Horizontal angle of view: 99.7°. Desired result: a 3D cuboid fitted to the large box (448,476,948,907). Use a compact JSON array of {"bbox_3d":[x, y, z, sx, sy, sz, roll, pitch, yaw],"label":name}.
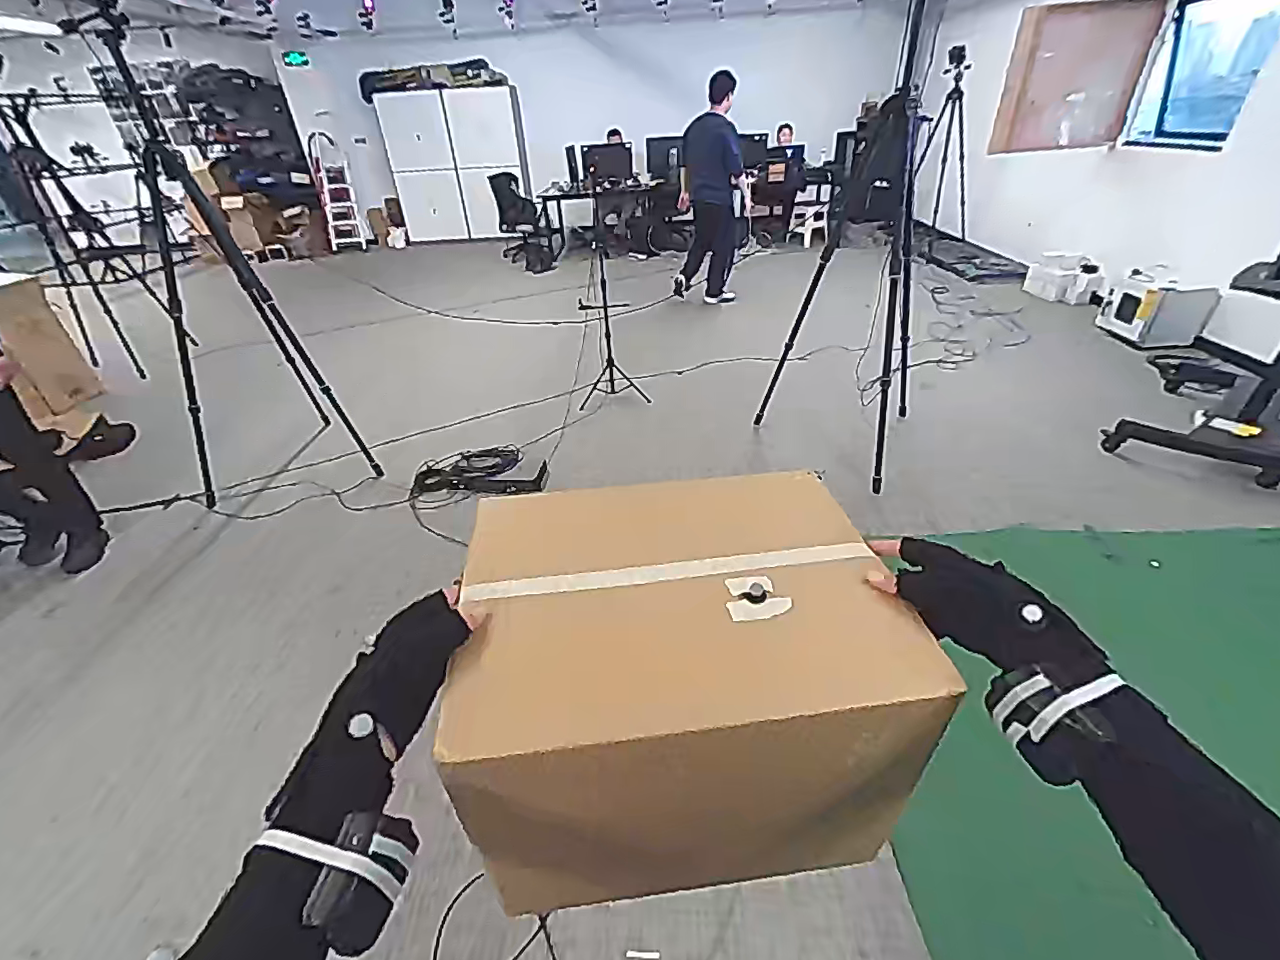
[{"bbox_3d":[0.035,0.218,0.616,0.408,0.320,0.320,-4,35,-6],"label":"large box"}]
